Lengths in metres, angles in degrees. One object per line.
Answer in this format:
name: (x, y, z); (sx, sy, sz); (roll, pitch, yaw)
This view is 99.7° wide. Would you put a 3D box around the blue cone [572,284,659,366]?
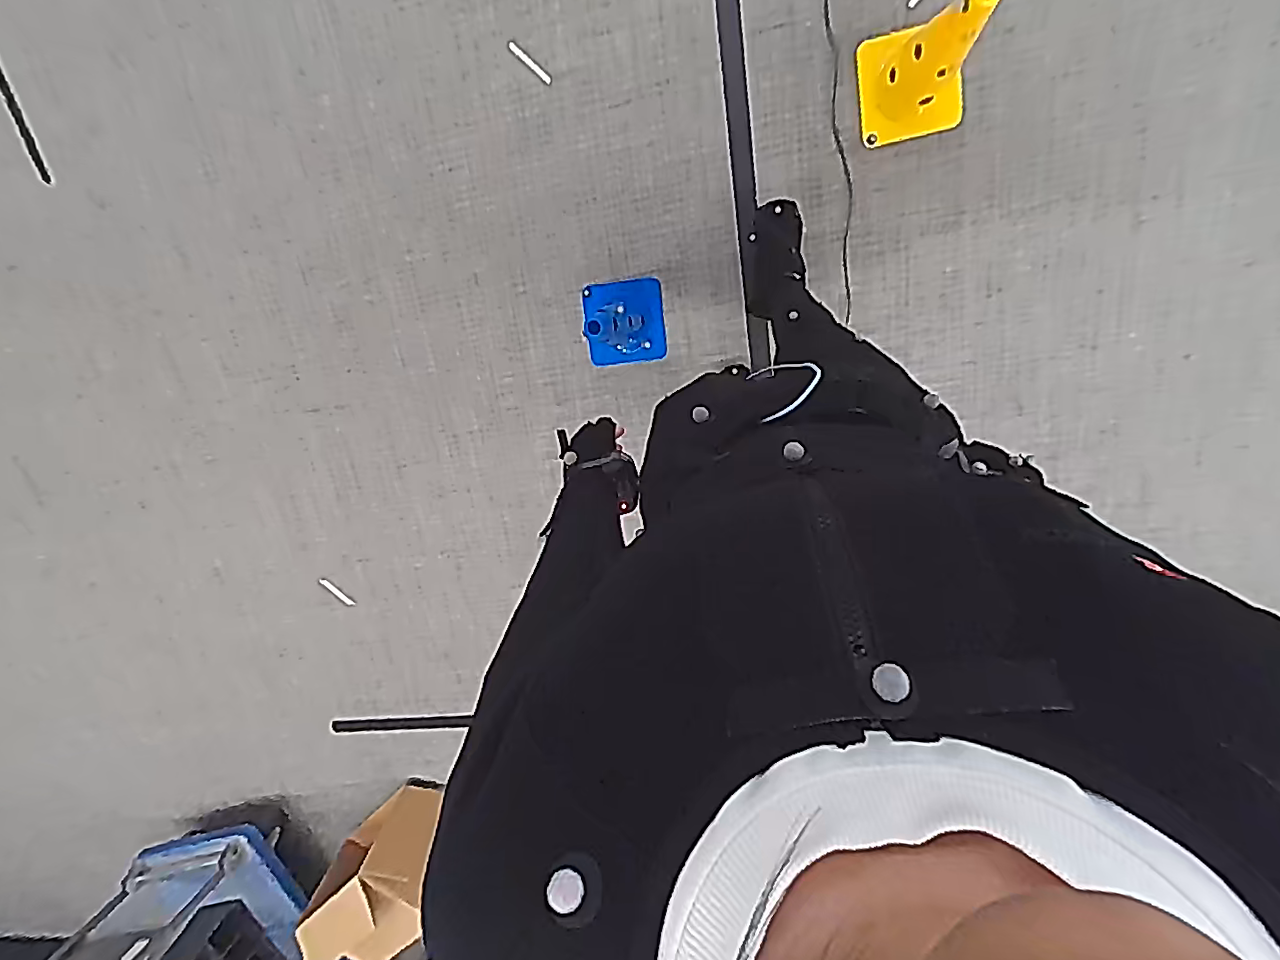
blue cone: (-0.076, -0.342, 1.208); (0.192, 0.380, 0.193); (-3, 107, 10)
